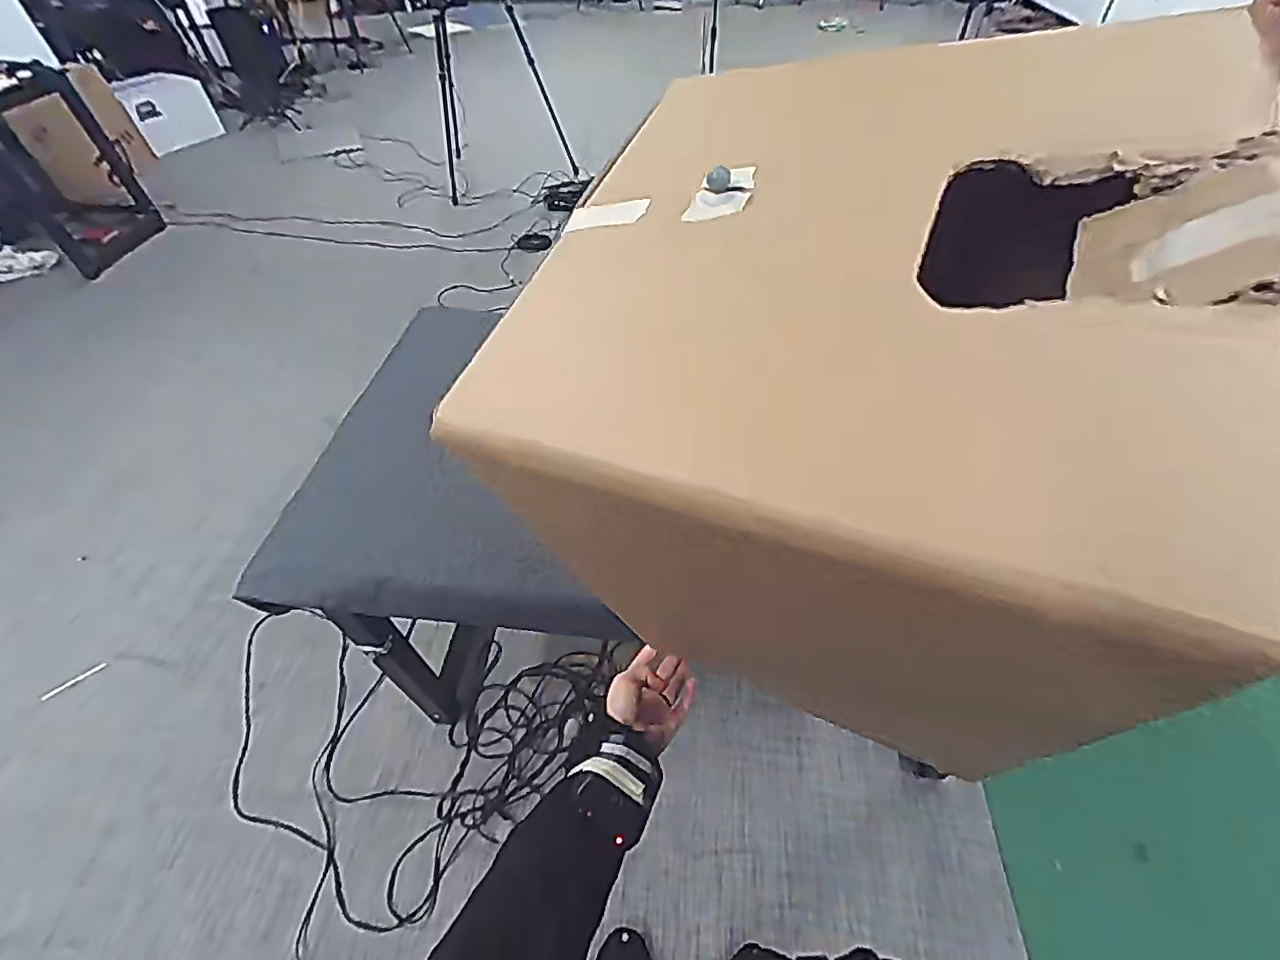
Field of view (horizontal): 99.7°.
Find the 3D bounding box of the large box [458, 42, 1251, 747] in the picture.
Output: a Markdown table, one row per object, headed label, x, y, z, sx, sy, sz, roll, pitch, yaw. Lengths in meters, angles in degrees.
| label | x | y | z | sx | sy | sz | roll | pitch | yaw |
| --- | --- | --- | --- | --- | --- | --- | --- | --- | --- |
| large box | 0.144 | -0.022 | 0.428 | 0.320 | 0.408 | 0.320 | 15 | 66 | 26 |
